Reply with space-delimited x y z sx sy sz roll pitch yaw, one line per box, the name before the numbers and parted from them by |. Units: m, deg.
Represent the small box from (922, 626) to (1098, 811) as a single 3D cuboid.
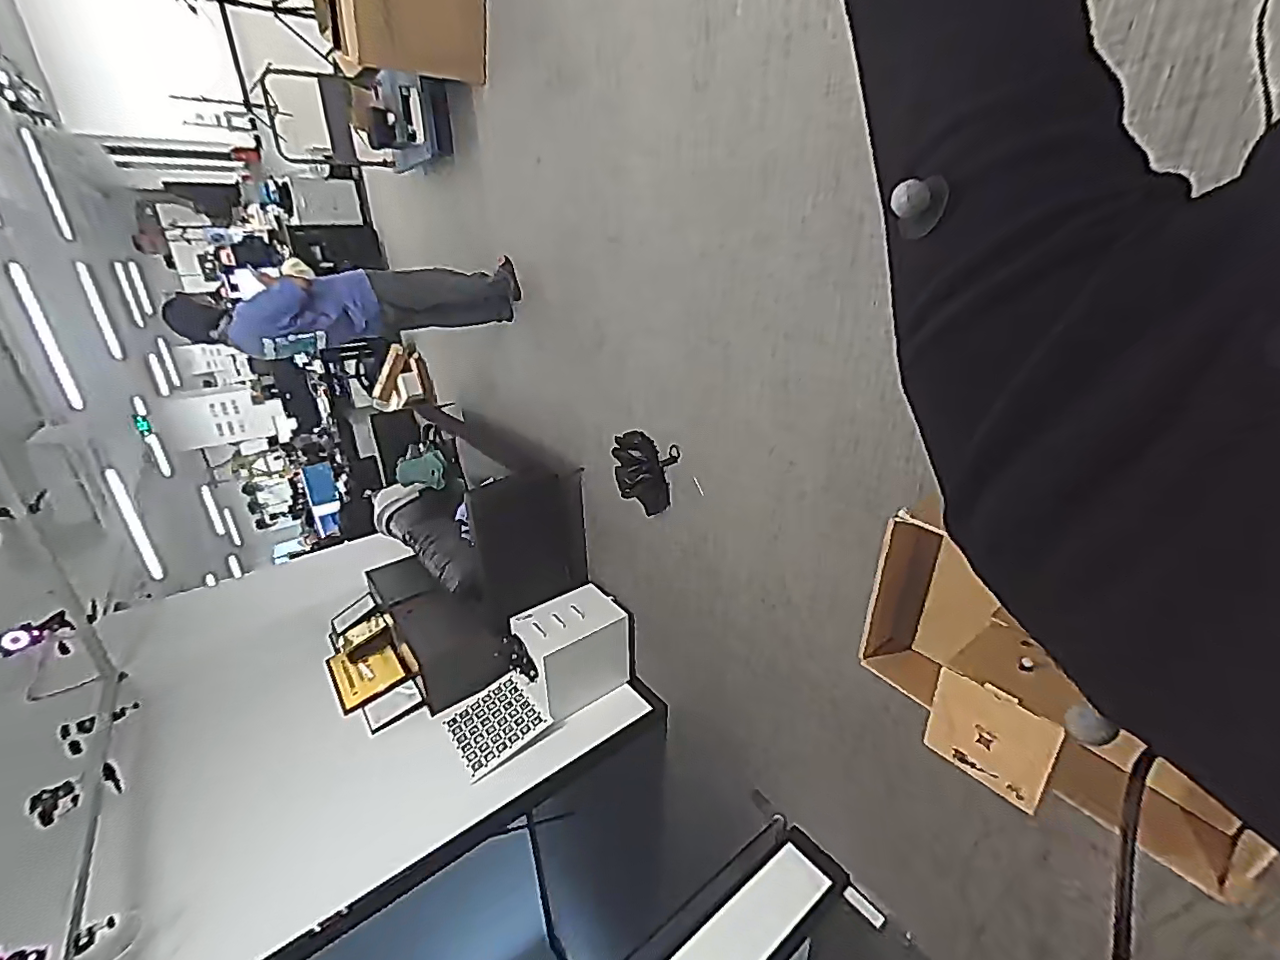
small box | 0.589 0.365 0.862 0.168 0.176 0.179 28 127 48
